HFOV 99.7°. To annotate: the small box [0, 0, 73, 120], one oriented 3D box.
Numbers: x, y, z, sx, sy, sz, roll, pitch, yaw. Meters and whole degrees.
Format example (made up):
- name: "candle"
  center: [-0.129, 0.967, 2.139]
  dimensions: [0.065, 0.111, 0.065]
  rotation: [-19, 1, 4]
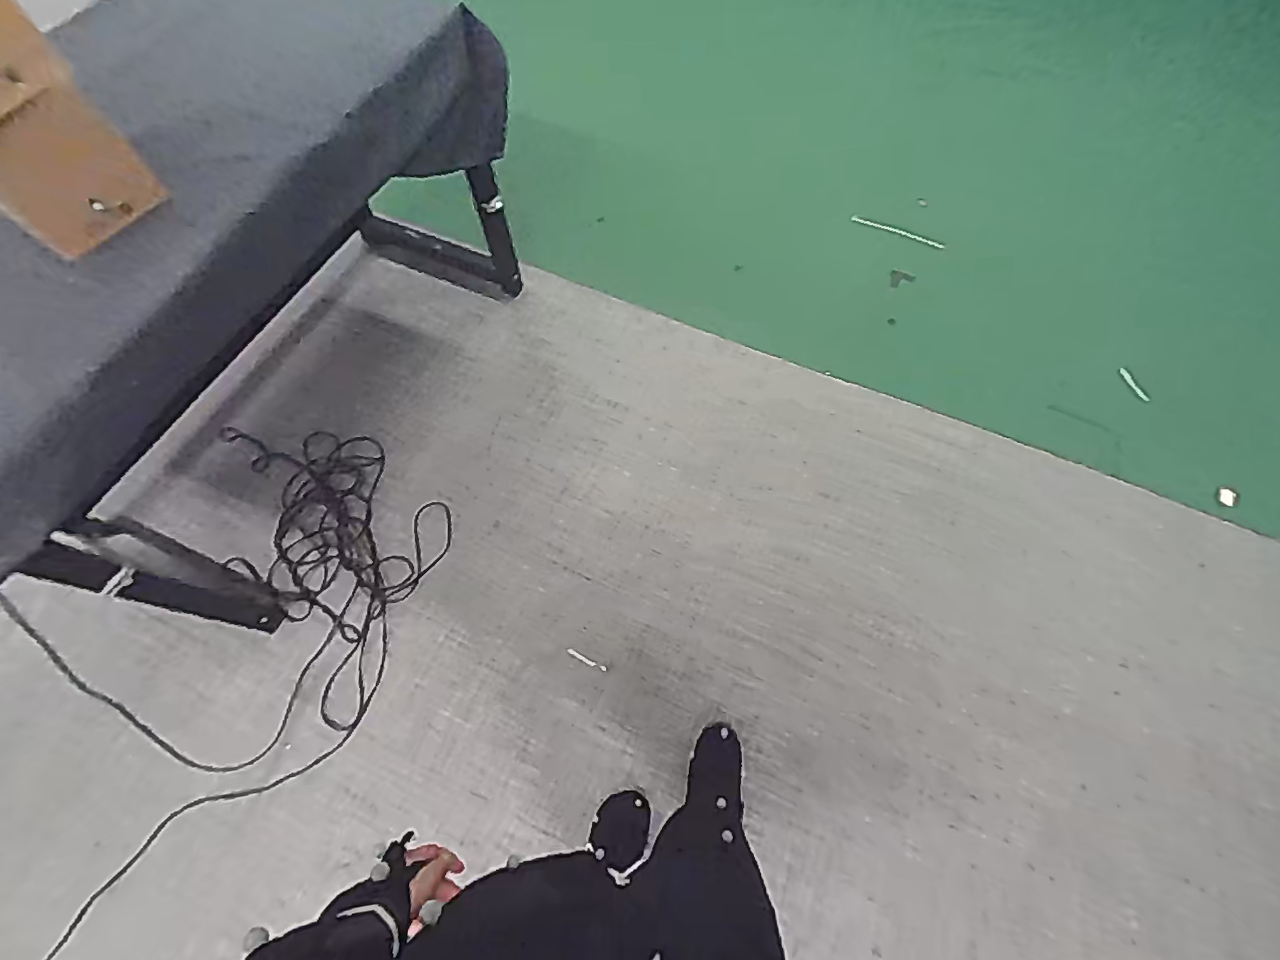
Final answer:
- name: "small box"
  center: [-0.797, -0.504, 0.579]
  dimensions: [0.179, 0.176, 0.168]
  rotation: [25, 68, 10]
